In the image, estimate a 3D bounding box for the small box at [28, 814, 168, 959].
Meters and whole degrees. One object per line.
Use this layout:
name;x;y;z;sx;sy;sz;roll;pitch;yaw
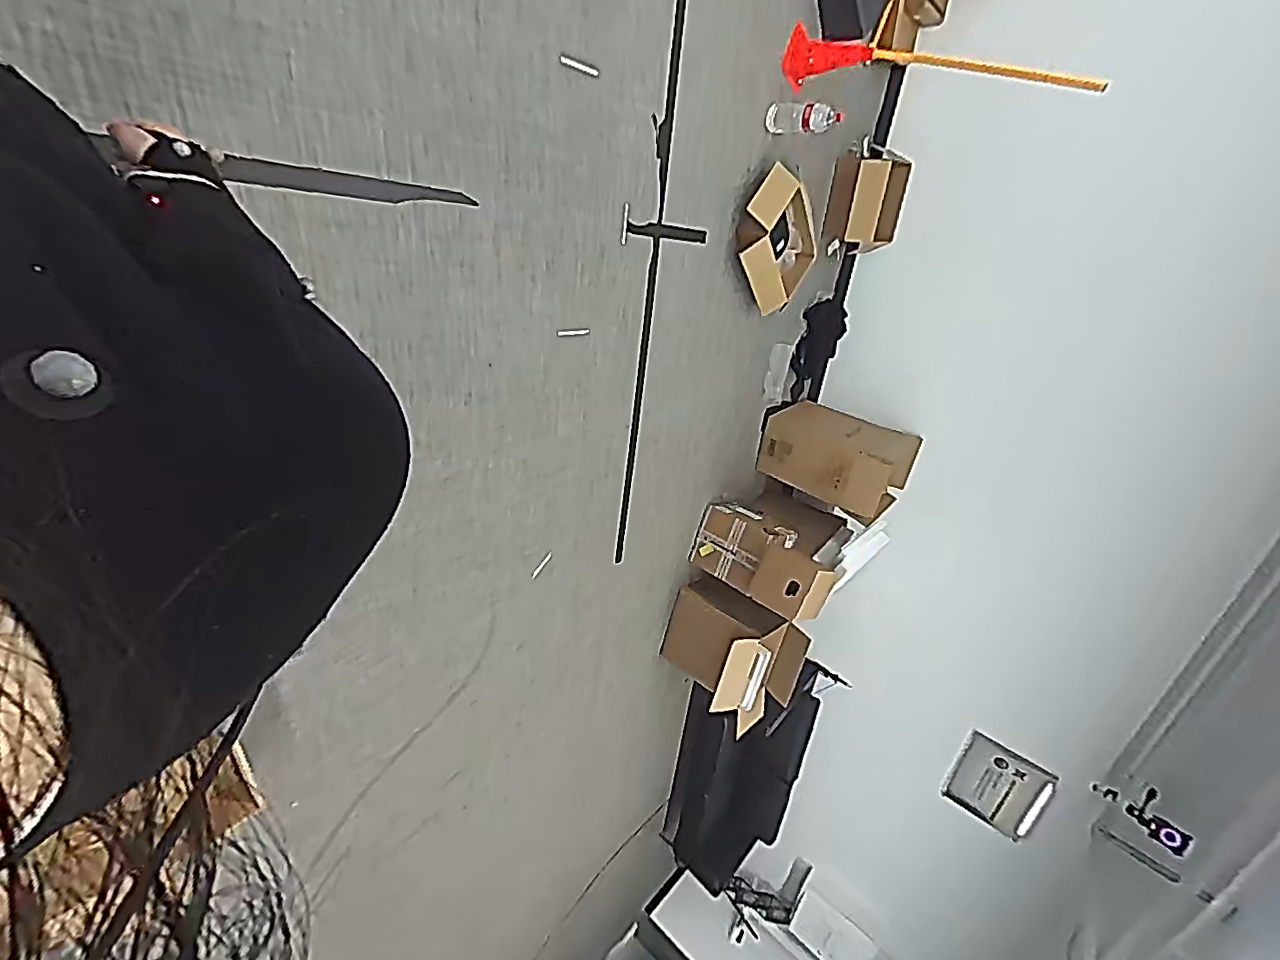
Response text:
small box;-1.189;0.890;1.190;0.168;0.176;0.179;-26;131;-43
